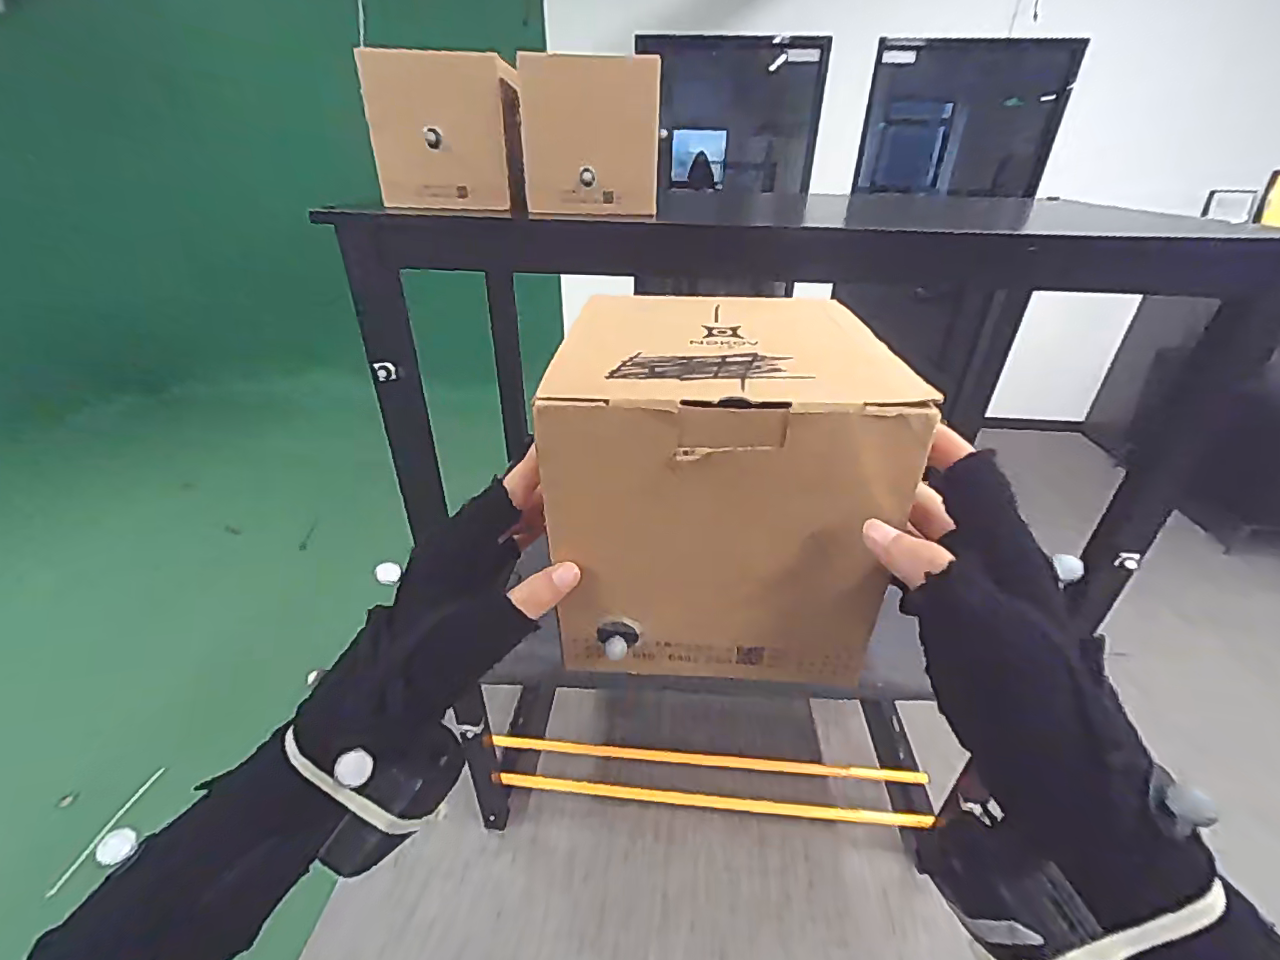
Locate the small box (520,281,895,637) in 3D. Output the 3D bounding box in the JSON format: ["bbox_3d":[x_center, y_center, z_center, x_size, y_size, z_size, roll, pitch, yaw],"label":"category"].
[{"bbox_3d":[0.035,-0.021,0.343,0.168,0.176,0.179,2,31,4],"label":"small box"}]

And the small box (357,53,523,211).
[{"bbox_3d":[-0.261,-0.477,0.756,0.168,0.176,0.179,1,30,-3],"label":"small box"}]
